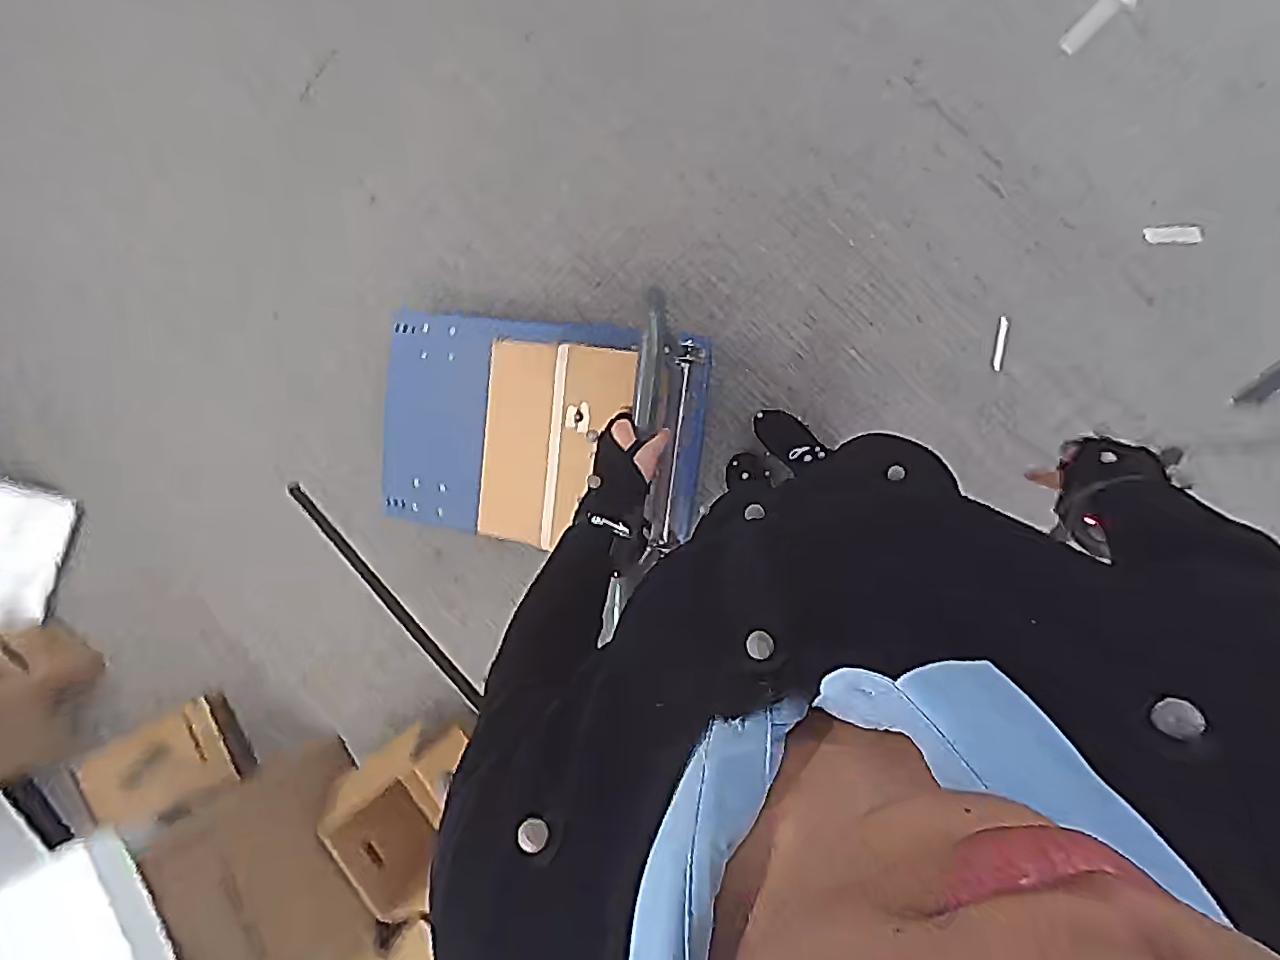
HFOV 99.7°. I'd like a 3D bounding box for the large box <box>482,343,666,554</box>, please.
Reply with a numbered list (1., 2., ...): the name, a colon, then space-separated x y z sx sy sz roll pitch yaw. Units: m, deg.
1. large box: -0.134 -0.075 1.228 0.320 0.320 0.408 7 96 12
